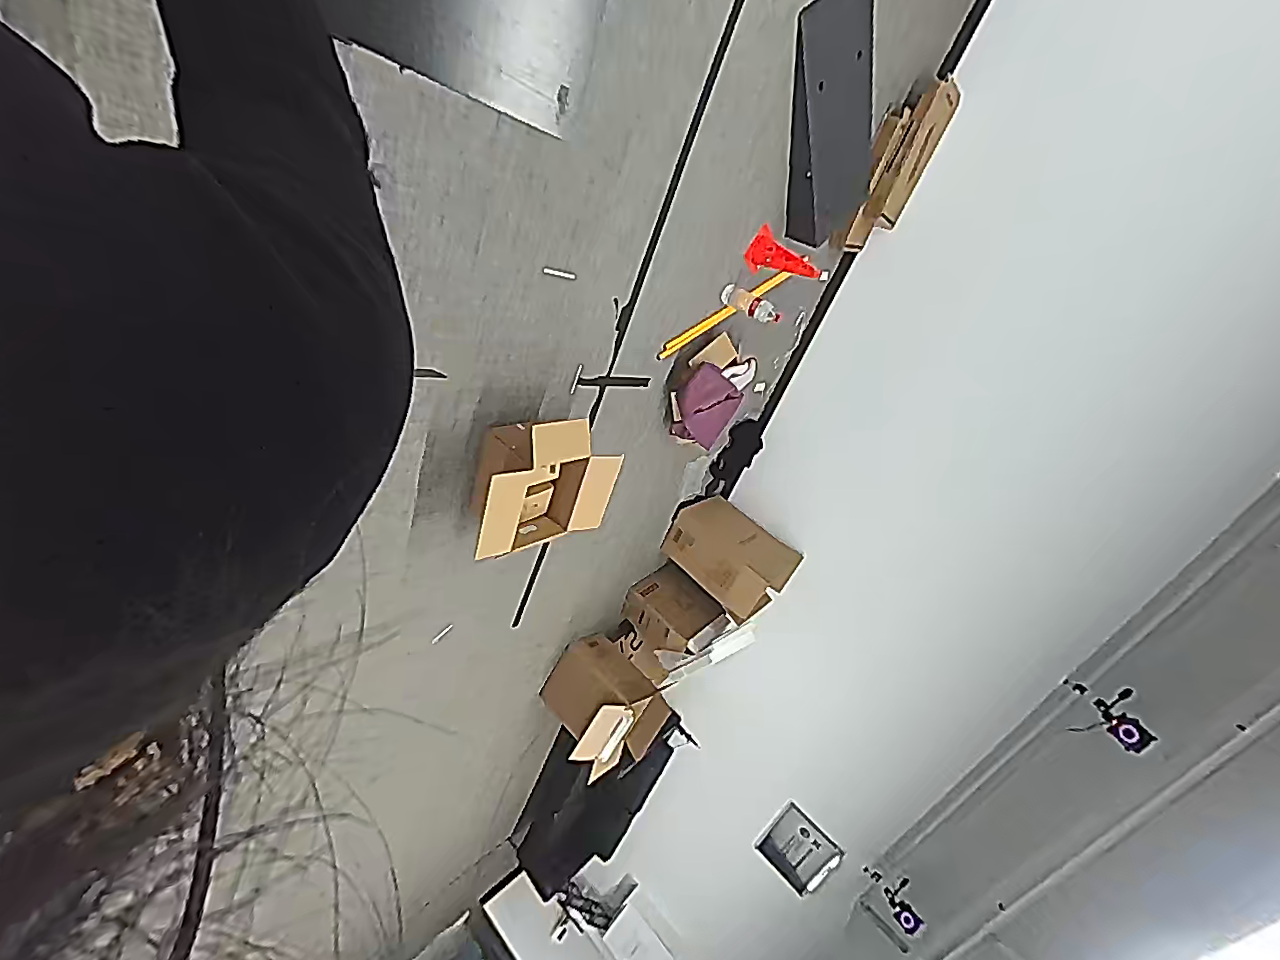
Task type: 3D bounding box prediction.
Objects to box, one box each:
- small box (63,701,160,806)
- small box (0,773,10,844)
[{"bbox_3d":[-1.522,0.778,1.559,0.179,0.176,0.168,-9,128,-51],"label":"small box"},{"bbox_3d":[-1.702,0.824,1.336,0.168,0.176,0.179,-9,128,-54],"label":"small box"}]
